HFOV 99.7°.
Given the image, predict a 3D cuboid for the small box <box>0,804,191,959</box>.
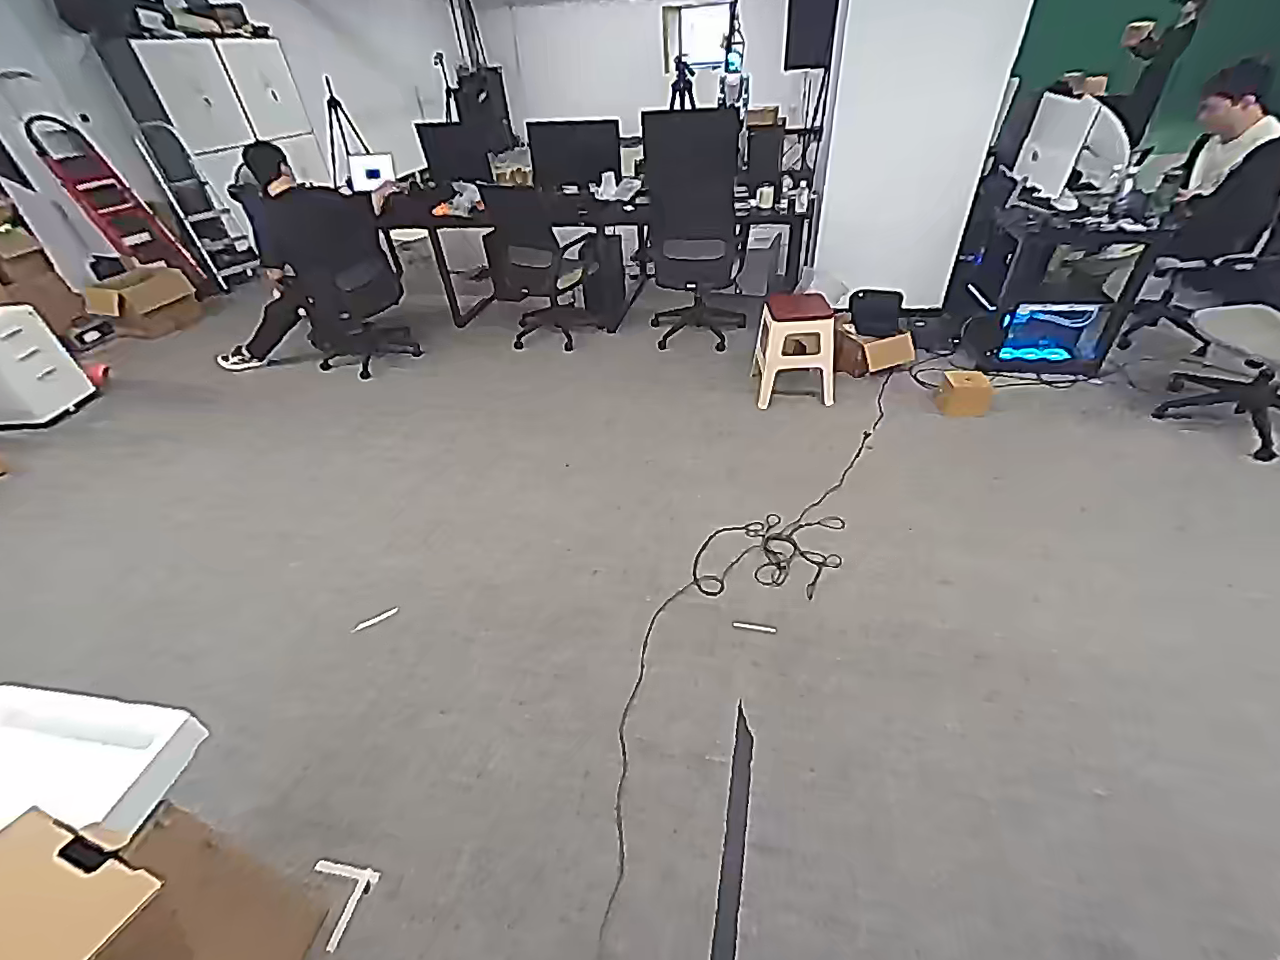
[{"bbox_3d":[-0.550,0.442,0.474,0.168,0.176,0.179,21,32,9],"label":"small box"}]
